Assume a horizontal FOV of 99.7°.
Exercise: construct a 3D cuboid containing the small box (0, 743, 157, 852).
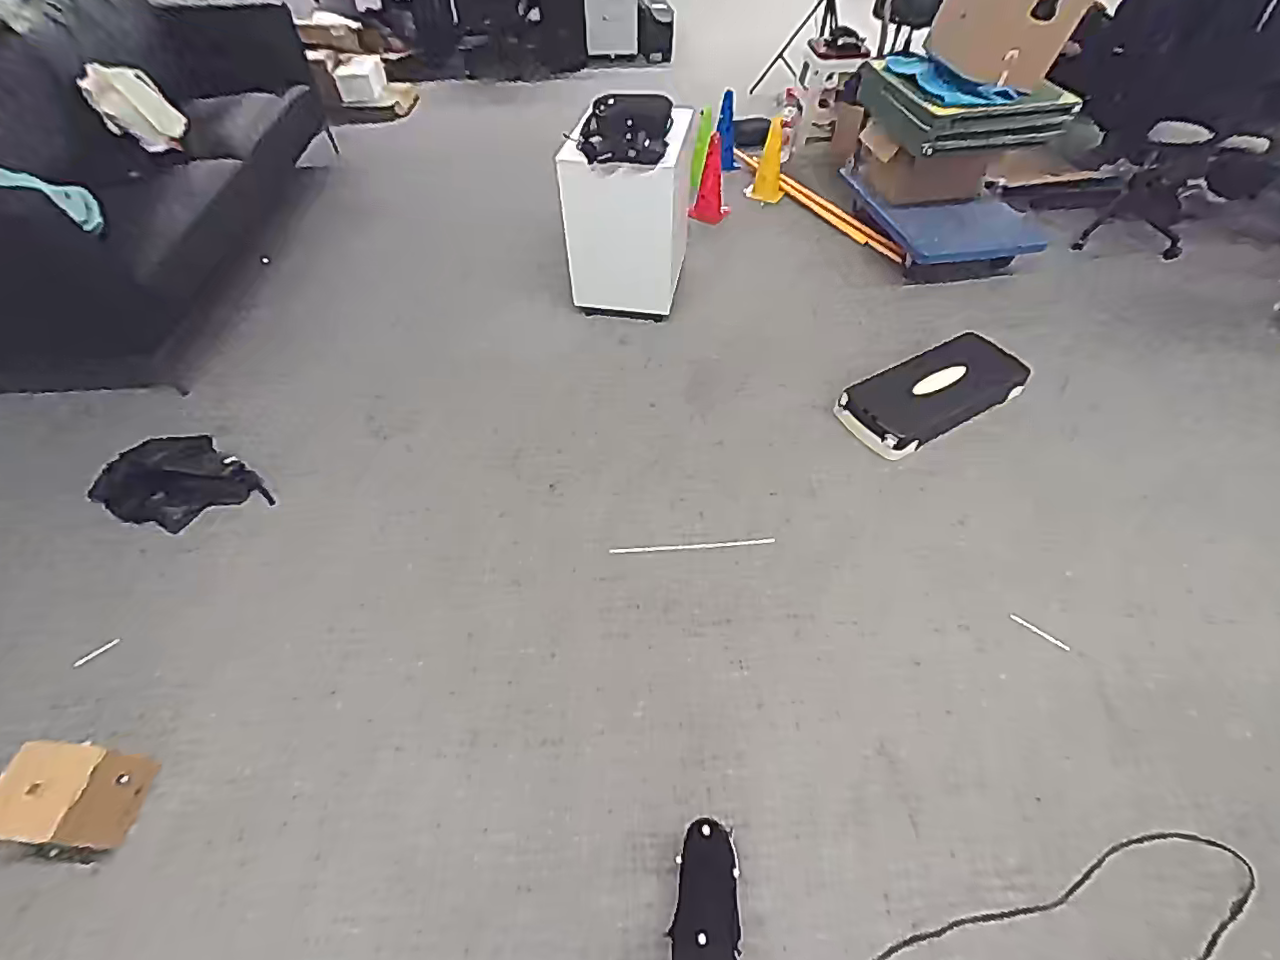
[{"bbox_3d":[-1.163,0.650,1.103,0.179,0.176,0.168,2,50,3],"label":"small box"}]
